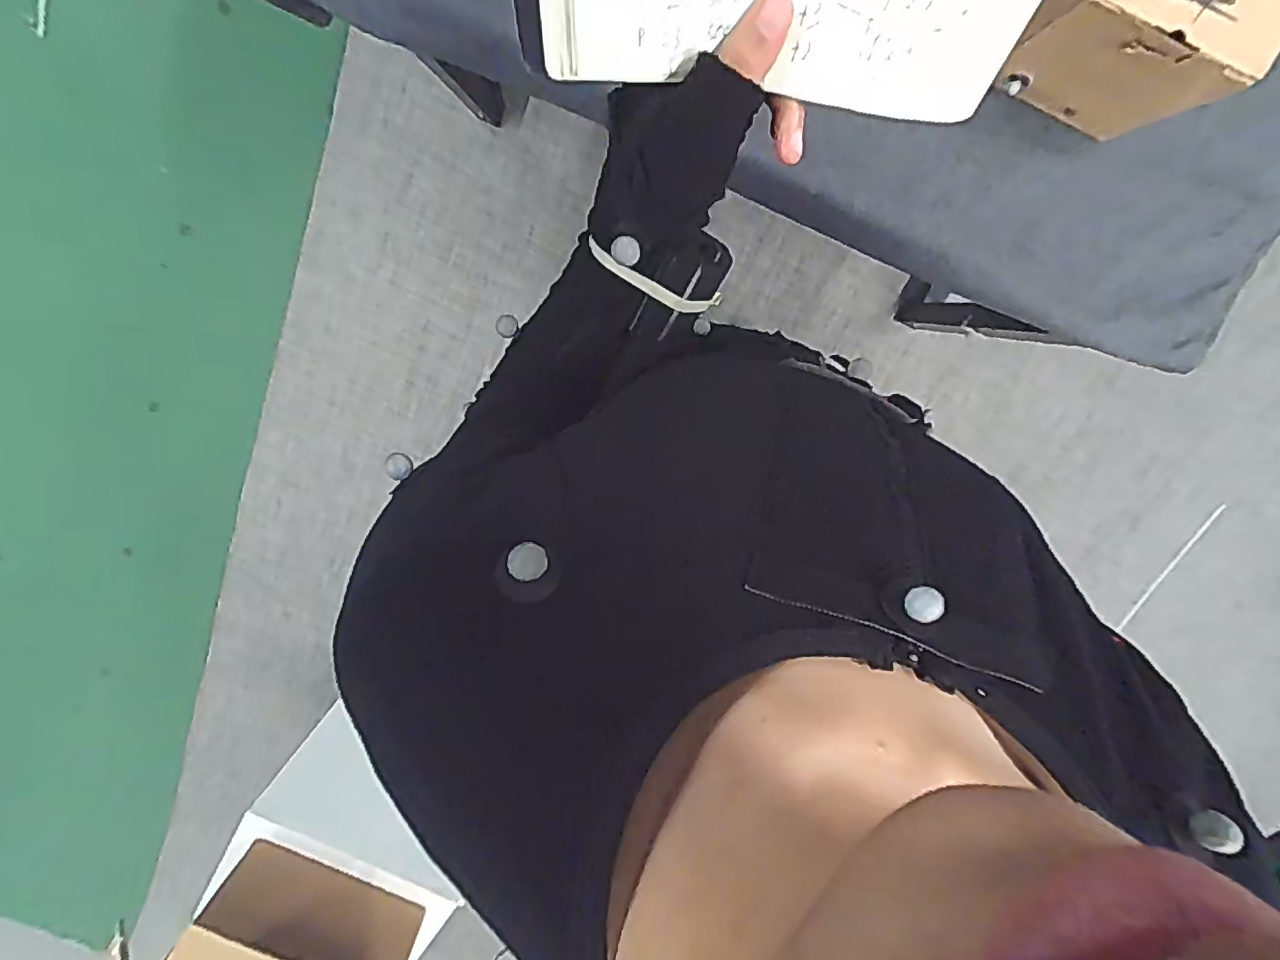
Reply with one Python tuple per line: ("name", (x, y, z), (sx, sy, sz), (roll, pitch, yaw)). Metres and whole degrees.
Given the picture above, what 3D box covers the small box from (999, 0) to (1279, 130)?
("small box", (0.478, -0.464, 0.496), (0.168, 0.176, 0.179), (22, 106, -5))
